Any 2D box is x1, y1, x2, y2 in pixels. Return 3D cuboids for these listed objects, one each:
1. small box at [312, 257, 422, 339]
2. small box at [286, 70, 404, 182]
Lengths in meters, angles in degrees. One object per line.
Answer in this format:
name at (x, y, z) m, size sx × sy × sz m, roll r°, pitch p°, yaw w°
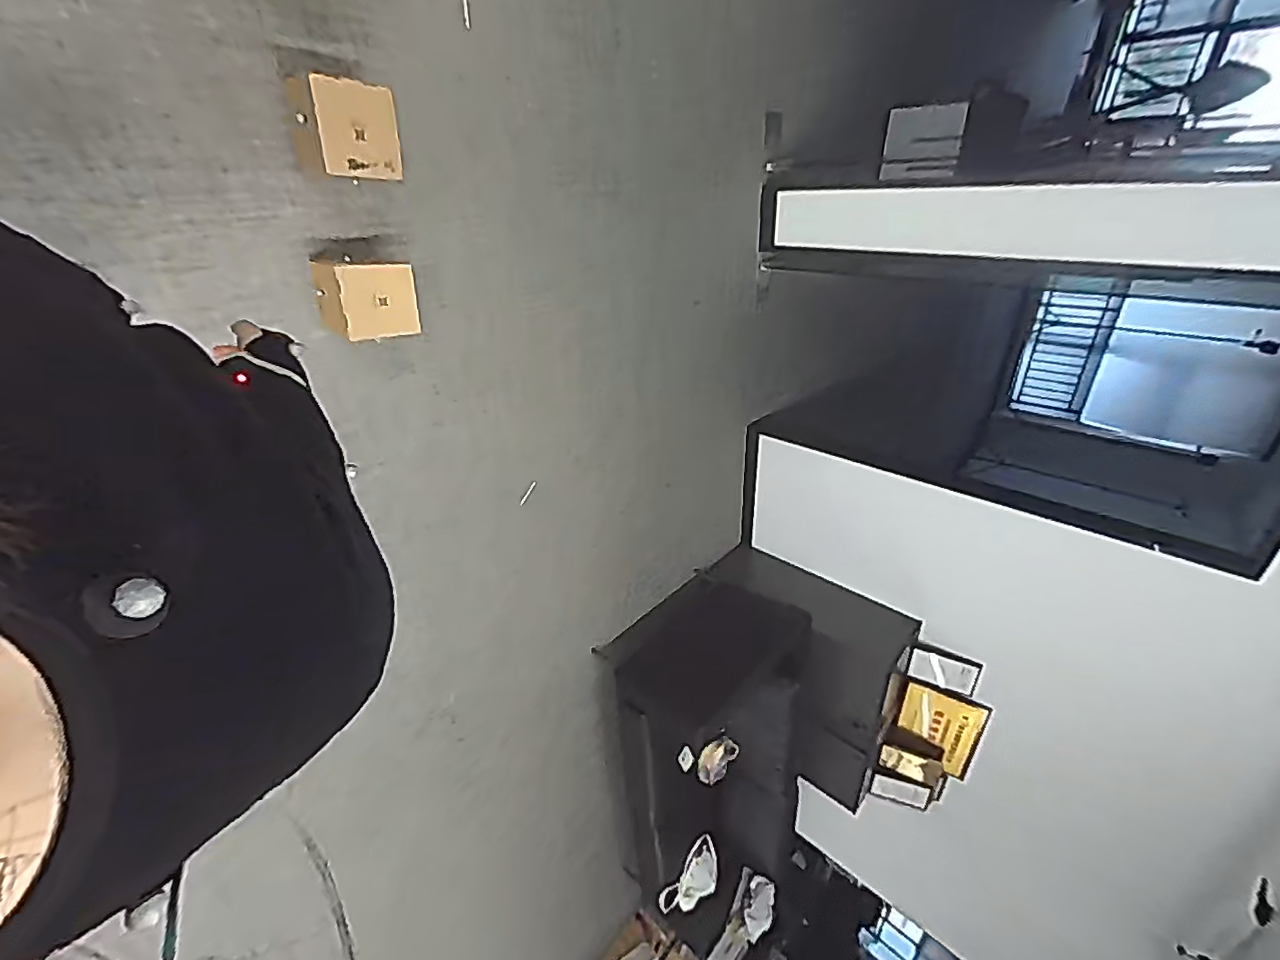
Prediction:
small box at (-0.665, -0.451, 1.324) m, size 0.179 × 0.176 × 0.168 m, roll -23°, pitch 125°, yaw -41°
small box at (-0.646, -0.763, 1.184) m, size 0.168 × 0.176 × 0.179 m, roll -23°, pitch 124°, yaw -42°
